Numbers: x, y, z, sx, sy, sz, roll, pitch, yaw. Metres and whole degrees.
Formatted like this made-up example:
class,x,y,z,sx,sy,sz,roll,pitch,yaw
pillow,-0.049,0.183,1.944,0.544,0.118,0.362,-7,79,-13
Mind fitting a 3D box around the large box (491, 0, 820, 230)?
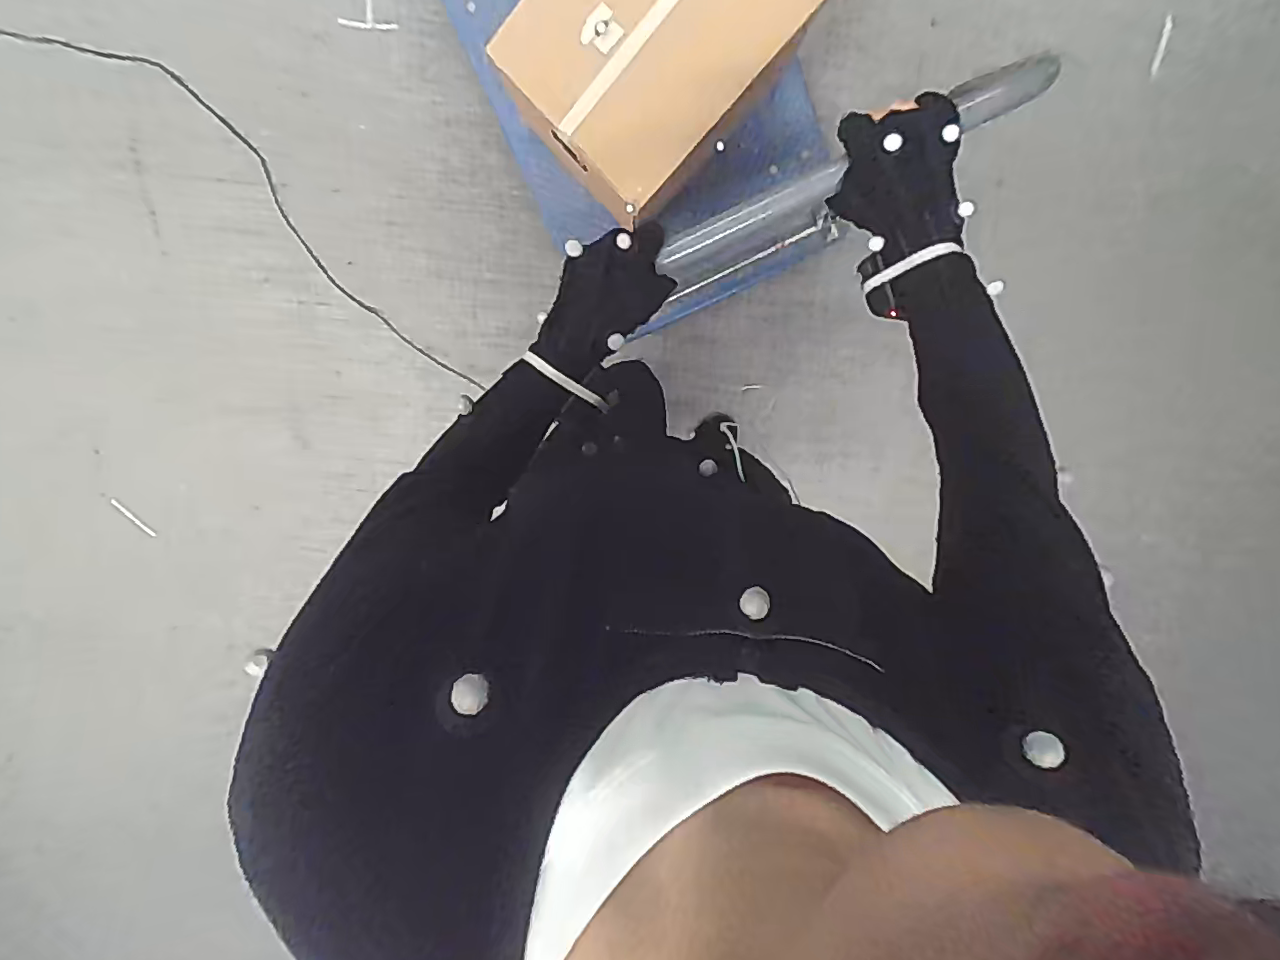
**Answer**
class,x,y,z,sx,sy,sz,roll,pitch,yaw
large box,0.023,-0.710,0.922,0.320,0.320,0.408,43,103,-12
